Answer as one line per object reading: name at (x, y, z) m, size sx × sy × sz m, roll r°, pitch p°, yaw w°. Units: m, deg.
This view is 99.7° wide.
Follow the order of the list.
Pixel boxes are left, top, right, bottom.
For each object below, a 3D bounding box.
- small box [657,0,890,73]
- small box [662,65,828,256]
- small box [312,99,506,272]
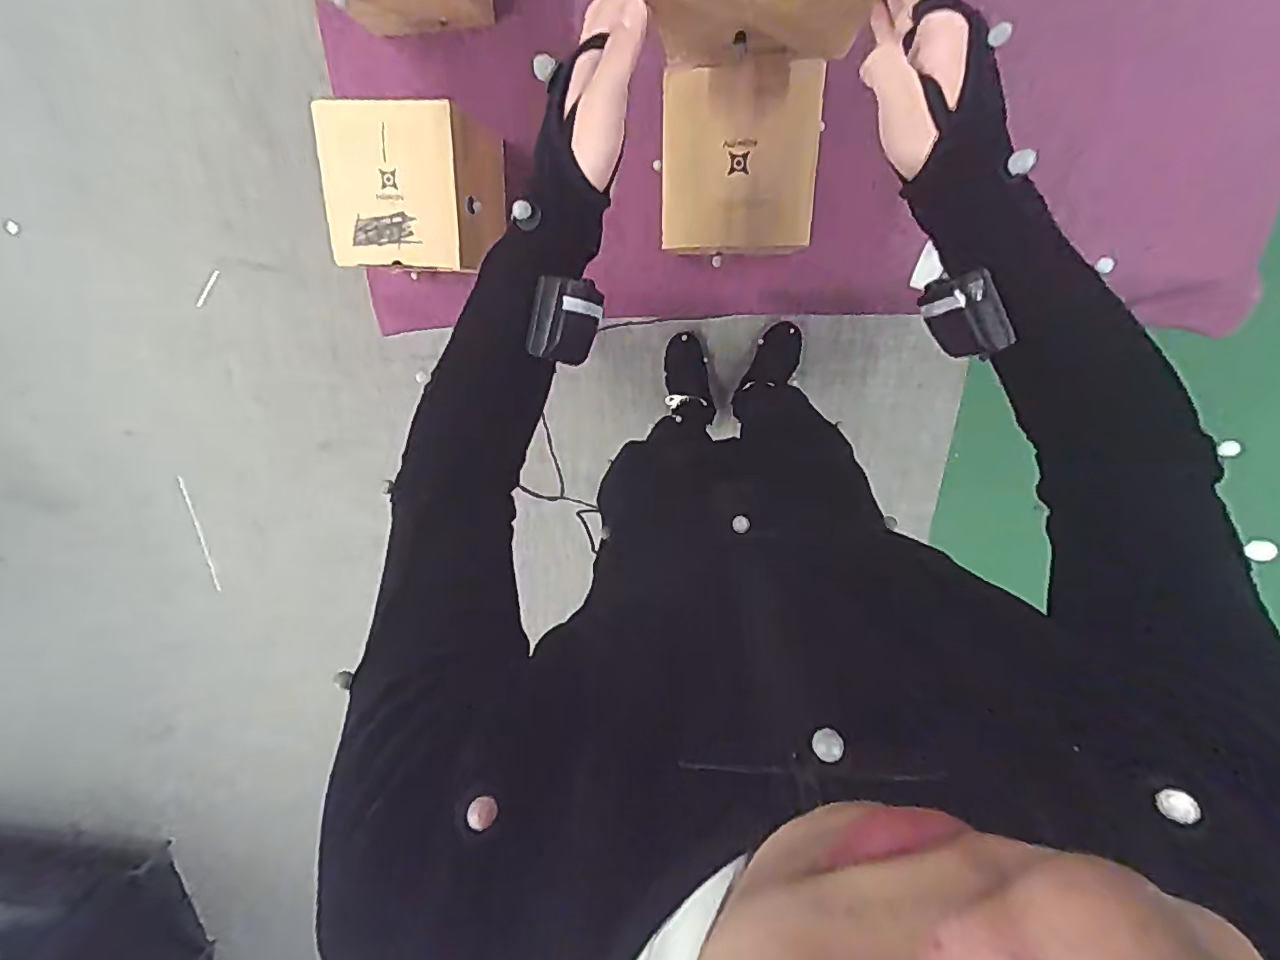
small box at (0.097, -0.432, 0.399) m, size 0.168 × 0.176 × 0.179 m, roll 3°, pitch 114°, yaw 7°
small box at (0.116, -0.369, 0.651) m, size 0.168 × 0.176 × 0.179 m, roll 3°, pitch 111°, yaw 7°
small box at (-0.281, -0.366, 0.700) m, size 0.168 × 0.176 × 0.179 m, roll 4°, pitch 110°, yaw 5°
